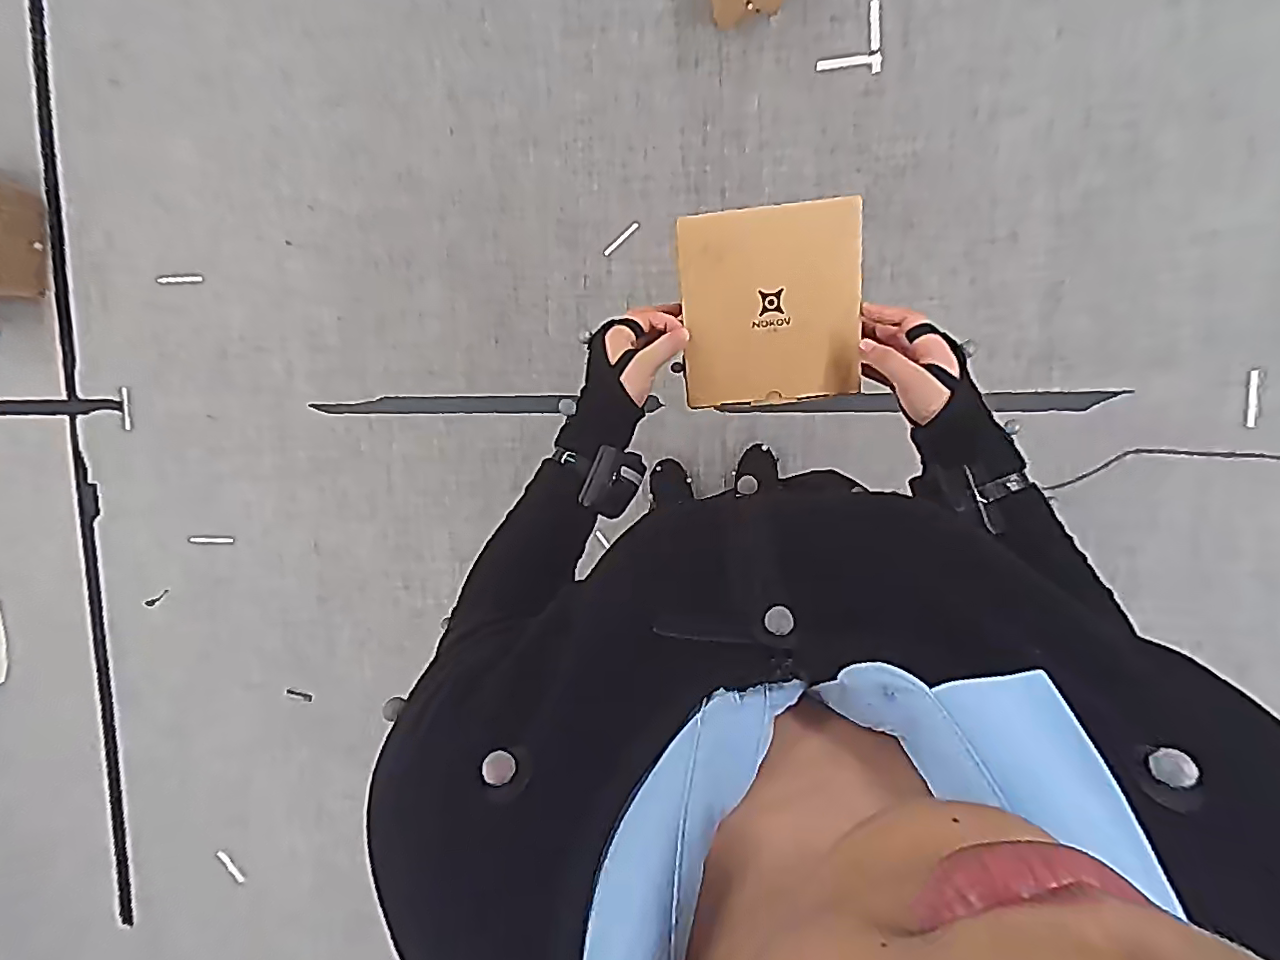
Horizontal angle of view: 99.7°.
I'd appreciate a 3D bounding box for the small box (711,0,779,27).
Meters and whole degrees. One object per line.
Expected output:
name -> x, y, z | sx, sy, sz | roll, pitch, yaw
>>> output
small box -> 0.248, -1.263, 1.305 | 0.168, 0.176, 0.179 | -12, 93, 8
